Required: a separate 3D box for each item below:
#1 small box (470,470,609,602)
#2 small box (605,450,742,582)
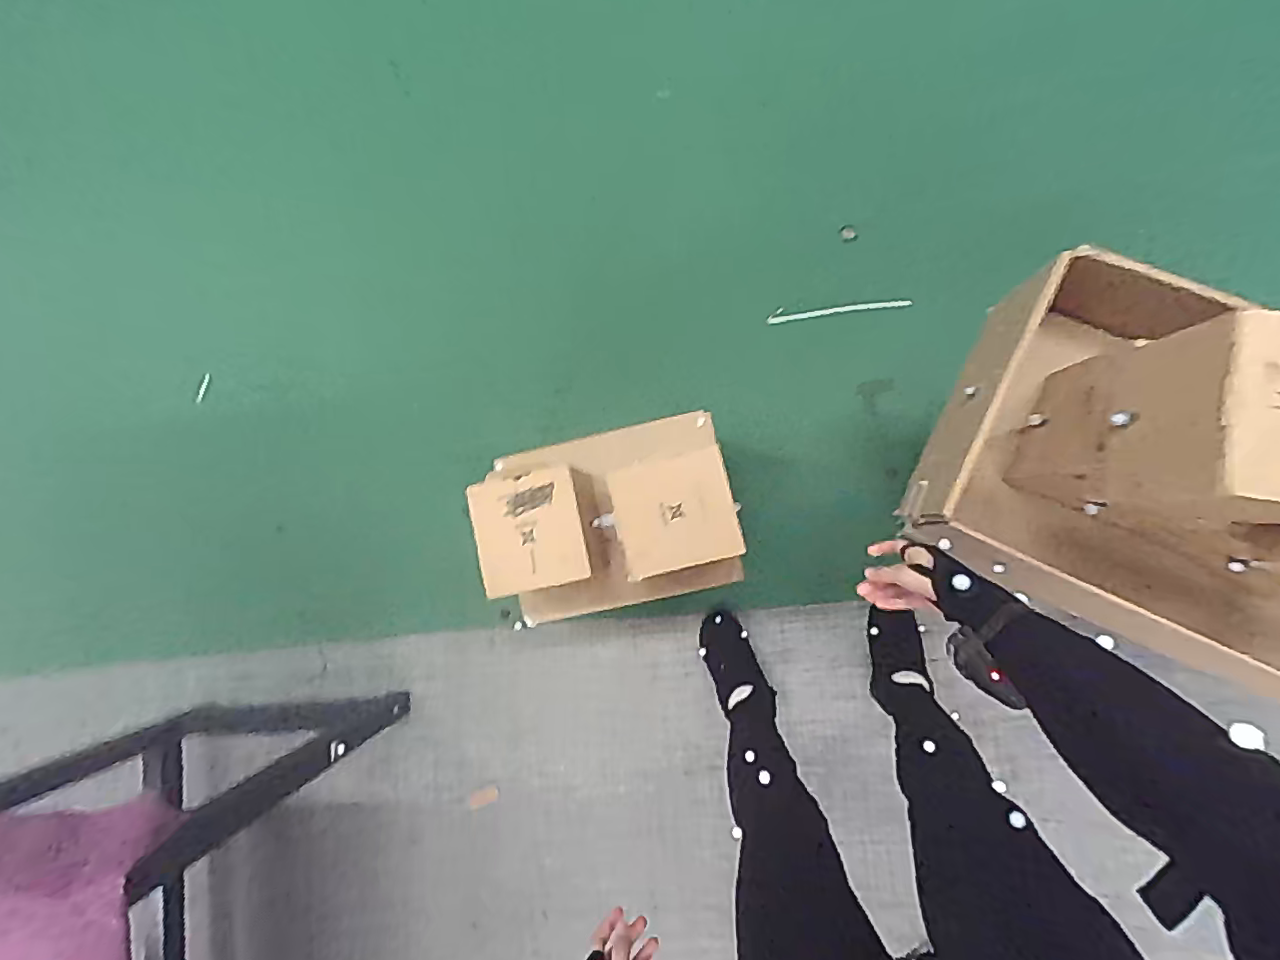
[{"bbox_3d":[-0.158,0.092,0.895,0.168,0.176,0.179,-13,84,6],"label":"small box"},{"bbox_3d":[0.057,0.060,0.872,0.179,0.176,0.168,-14,85,5],"label":"small box"}]
